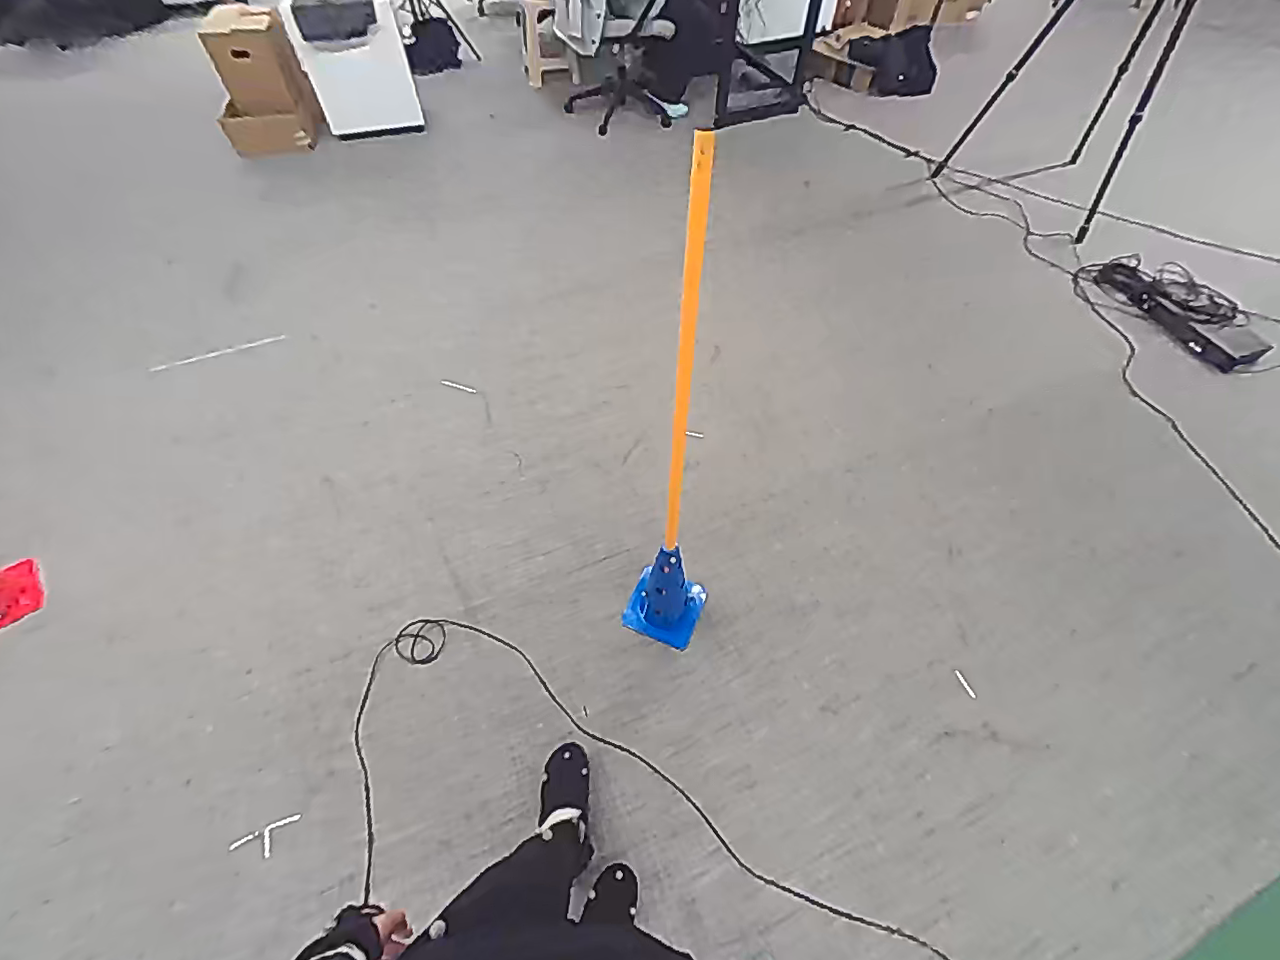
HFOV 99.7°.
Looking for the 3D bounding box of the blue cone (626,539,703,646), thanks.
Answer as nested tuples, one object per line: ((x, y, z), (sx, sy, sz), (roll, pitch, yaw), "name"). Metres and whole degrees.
((0.067, 0.258, 1.382), (0.192, 0.380, 0.193), (18, 56, 13), "blue cone")
